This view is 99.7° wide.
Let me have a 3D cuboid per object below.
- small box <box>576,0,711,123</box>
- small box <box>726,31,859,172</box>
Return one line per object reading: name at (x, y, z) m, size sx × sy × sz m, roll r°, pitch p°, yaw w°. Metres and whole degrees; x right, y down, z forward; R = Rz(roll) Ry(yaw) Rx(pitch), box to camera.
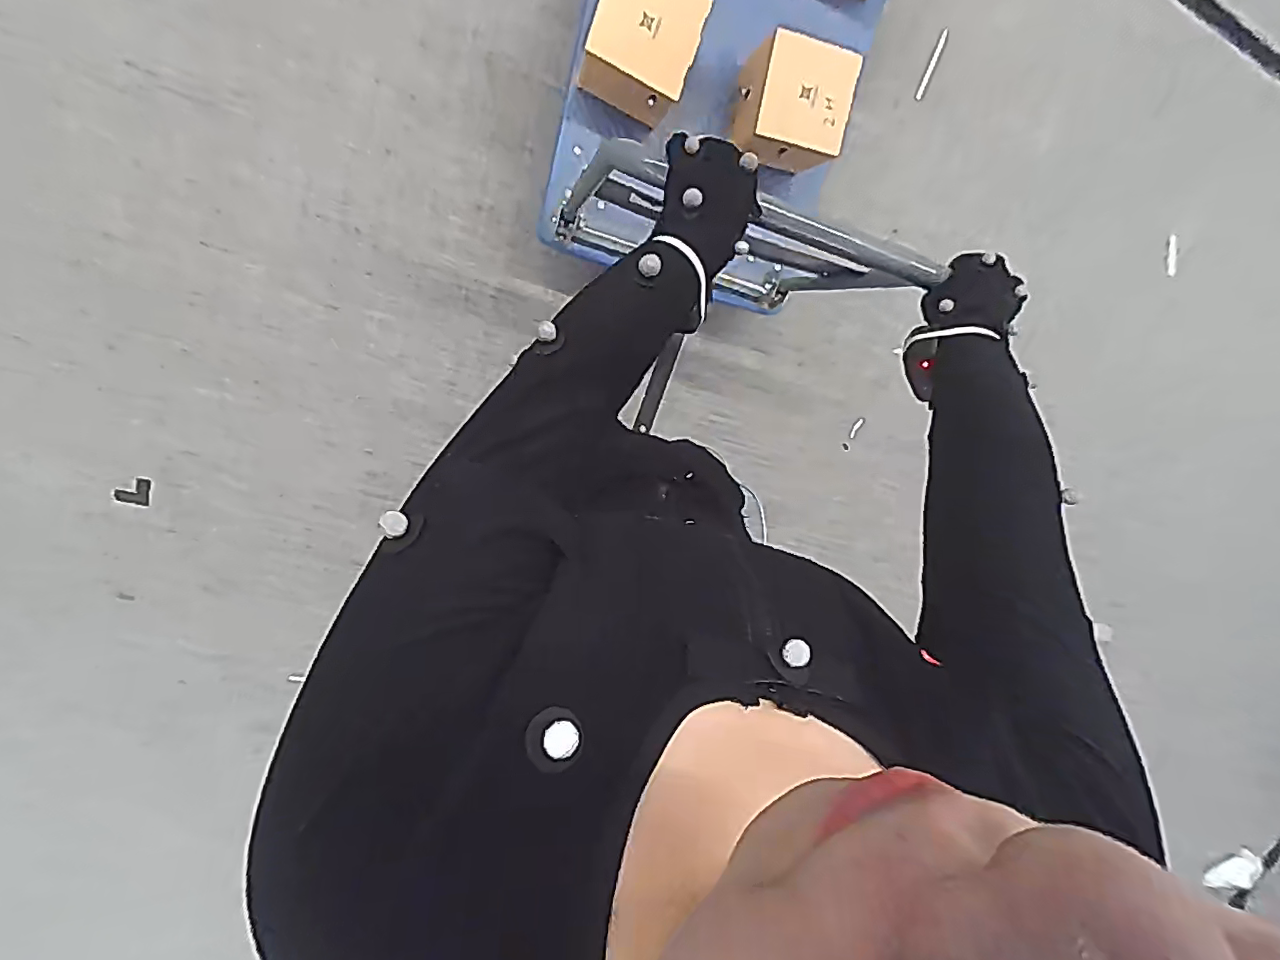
small box at (-0.004, -0.781, 0.972) m, size 0.179 × 0.176 × 0.168 m, roll 17°, pitch 104°, yaw -19°
small box at (0.285, -0.723, 1.057) m, size 0.179 × 0.176 × 0.168 m, roll 6°, pitch 108°, yaw -15°
